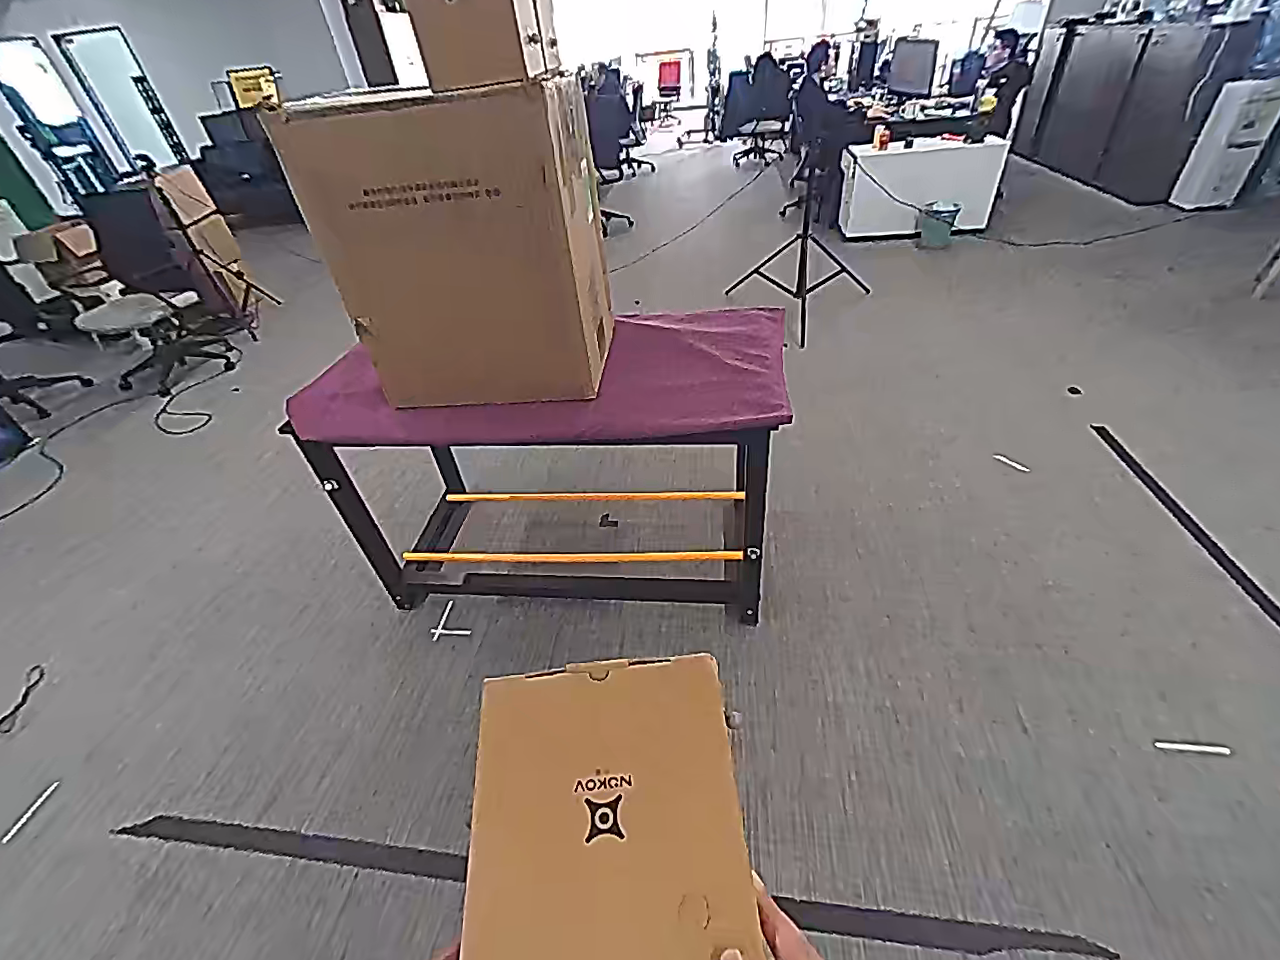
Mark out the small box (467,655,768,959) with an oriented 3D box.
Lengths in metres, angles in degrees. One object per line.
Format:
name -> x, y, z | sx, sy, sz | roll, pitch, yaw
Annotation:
small box -> -0.012, 0.249, 0.393 | 0.168, 0.176, 0.179 | -8, 52, 0

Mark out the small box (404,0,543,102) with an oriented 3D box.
small box -> -0.284, -0.771, 0.936 | 0.179, 0.176, 0.168 | -4, 40, 6
